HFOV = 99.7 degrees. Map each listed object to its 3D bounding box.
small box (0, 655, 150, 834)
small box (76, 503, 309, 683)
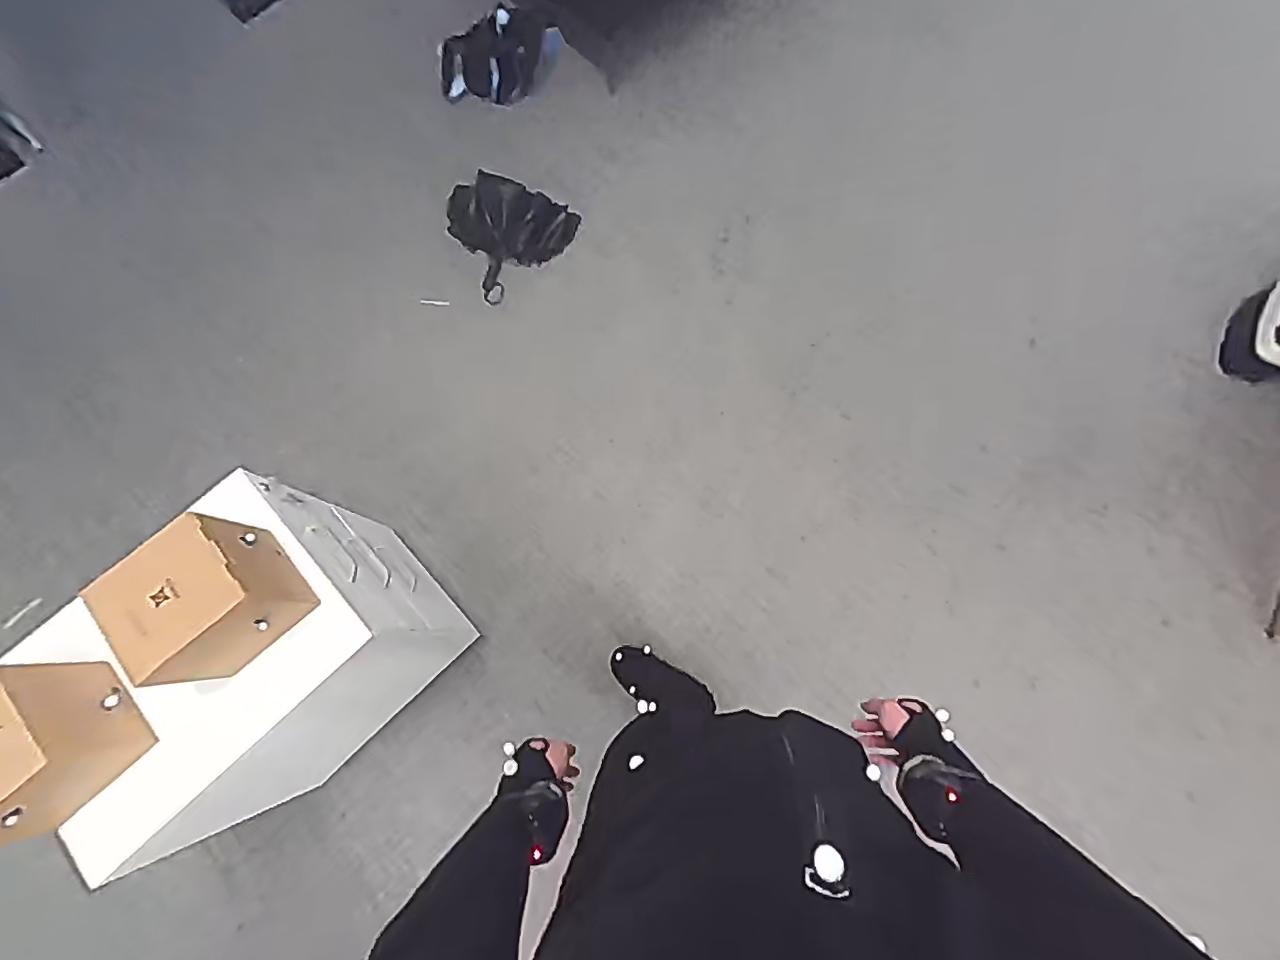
[{"bbox_3d":[-0.843,0.360,0.733,0.179,0.176,0.168,-43,79,-12],"label":"small box"},{"bbox_3d":[-0.624,0.163,0.785,0.179,0.176,0.168,-42,77,-8],"label":"small box"}]
